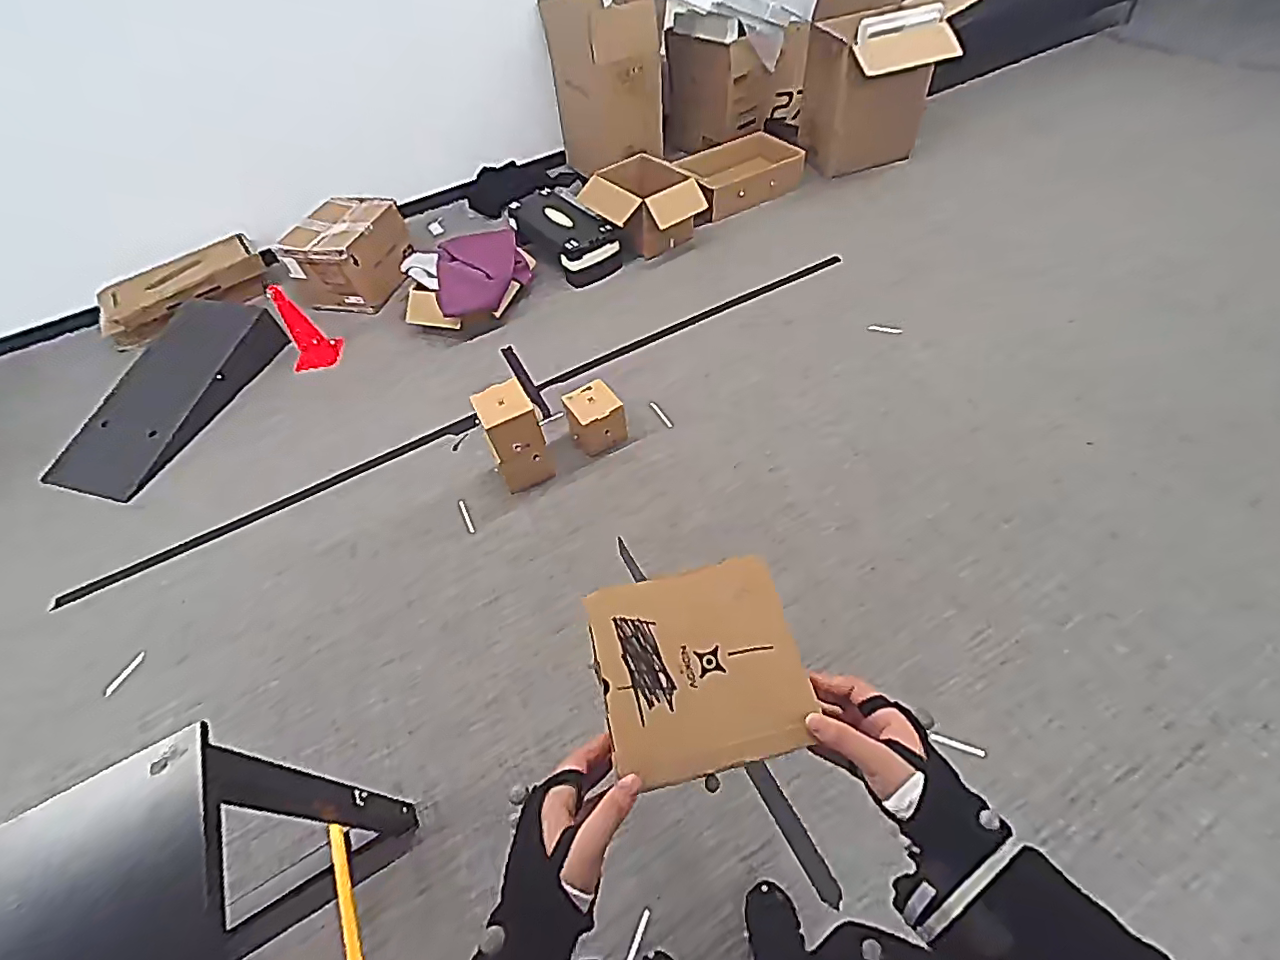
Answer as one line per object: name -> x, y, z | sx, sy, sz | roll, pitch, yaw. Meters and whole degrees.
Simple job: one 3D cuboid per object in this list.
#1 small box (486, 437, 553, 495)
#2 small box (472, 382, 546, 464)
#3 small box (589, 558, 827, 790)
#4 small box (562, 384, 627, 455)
small box -> -0.418, -0.079, 1.908 | 0.179, 0.176, 0.168 | -25, 53, -12
small box -> -0.430, -0.184, 1.785 | 0.168, 0.176, 0.179 | -27, 55, -12
small box -> 0.055, 0.200, 0.541 | 0.179, 0.176, 0.168 | -11, 60, -6
small box -> -0.163, -0.214, 1.984 | 0.168, 0.176, 0.179 | -29, 55, -15
